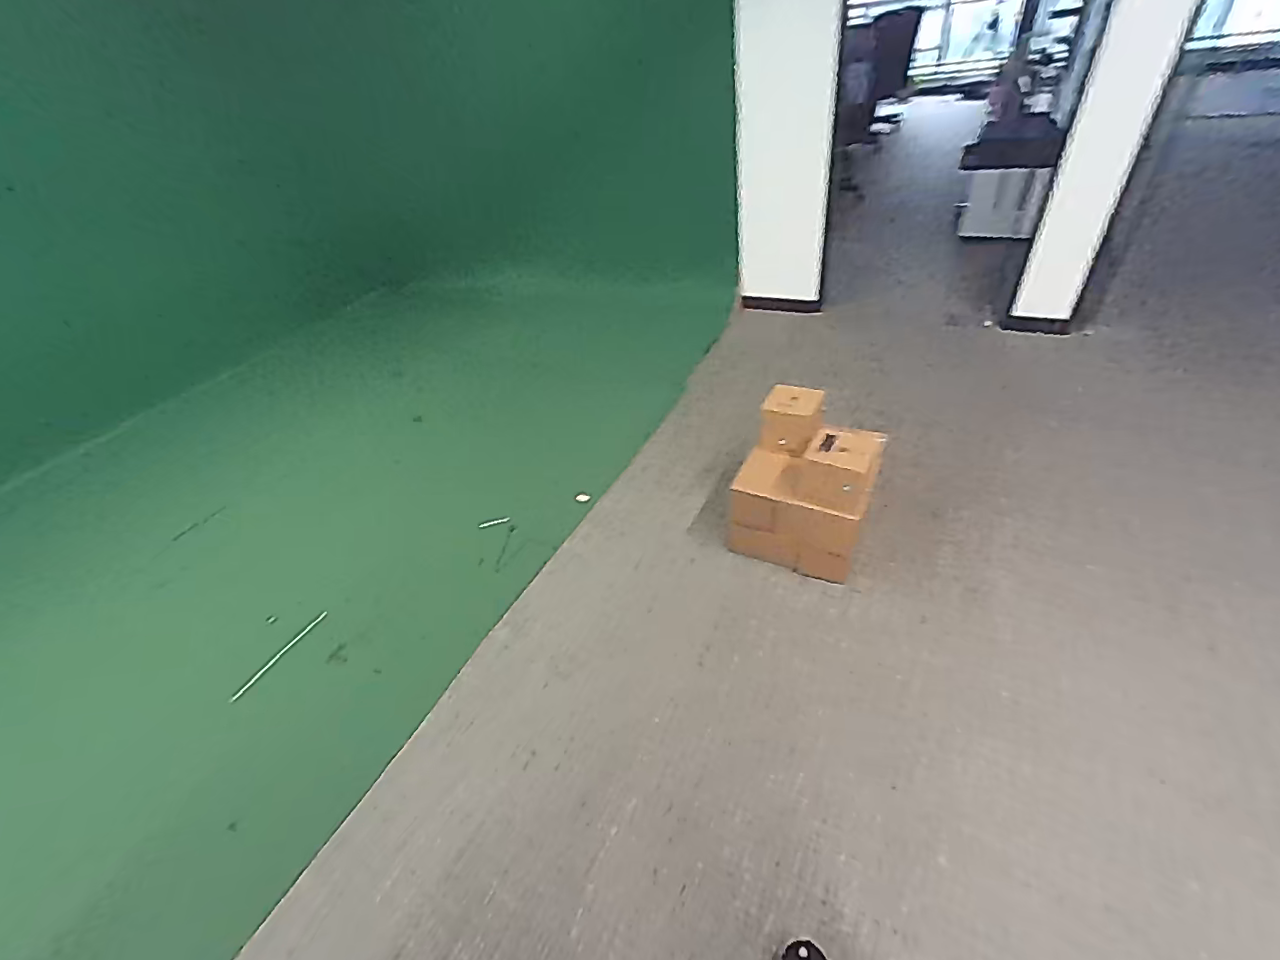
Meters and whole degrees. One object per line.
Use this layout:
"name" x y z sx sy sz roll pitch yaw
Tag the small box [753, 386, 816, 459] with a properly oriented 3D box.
"small box" 0.491 -0.198 1.852 0.168 0.176 0.179 14 43 27
